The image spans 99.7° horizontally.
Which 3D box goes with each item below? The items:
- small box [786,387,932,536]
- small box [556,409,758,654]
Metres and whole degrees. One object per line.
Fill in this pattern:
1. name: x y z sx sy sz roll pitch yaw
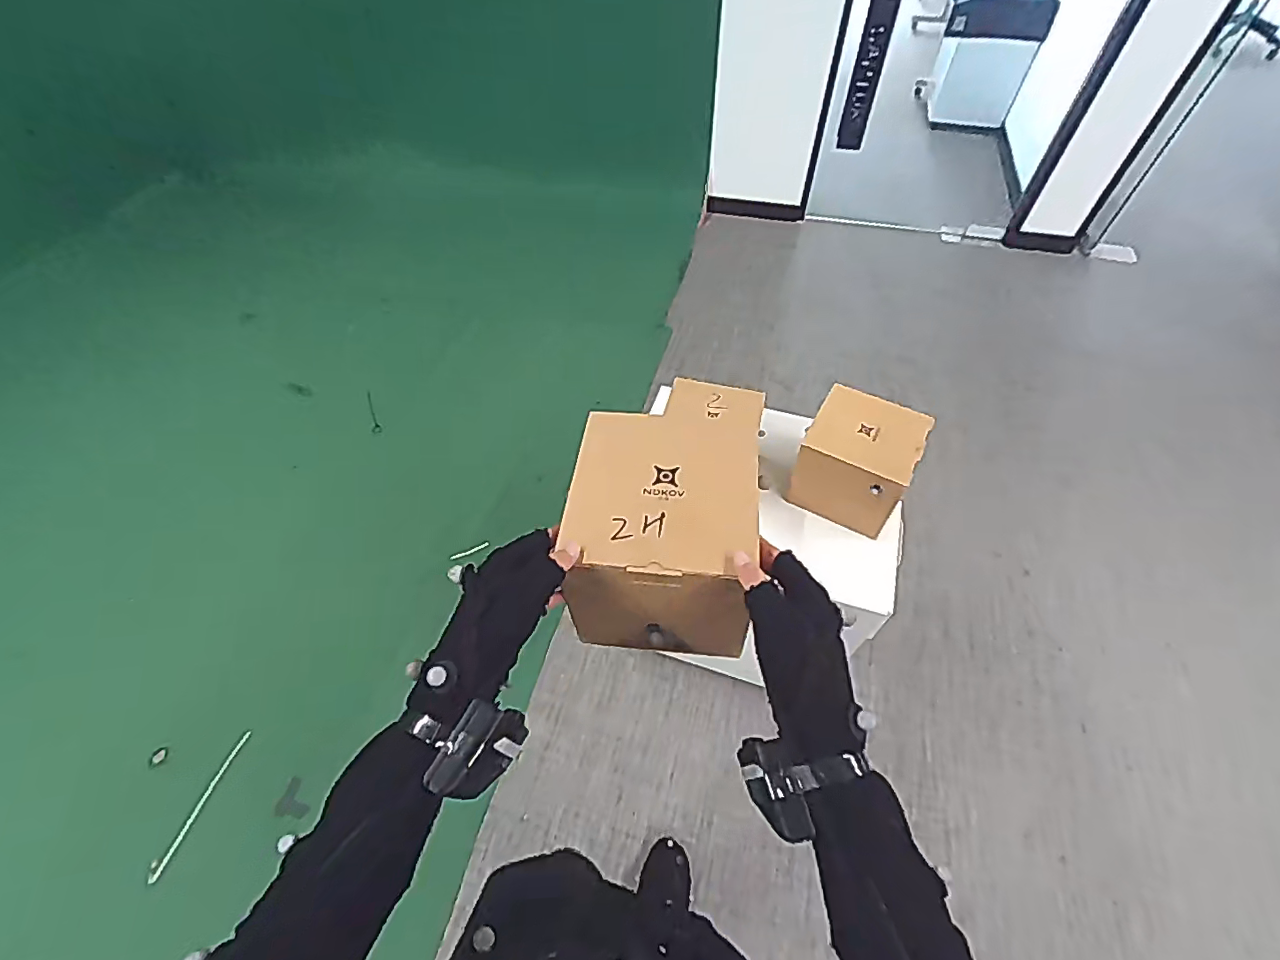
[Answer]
1. small box: 0.376 -0.029 0.955 0.179 0.176 0.168 25 59 19
2. small box: 0.026 0.051 0.542 0.168 0.176 0.179 3 52 8
